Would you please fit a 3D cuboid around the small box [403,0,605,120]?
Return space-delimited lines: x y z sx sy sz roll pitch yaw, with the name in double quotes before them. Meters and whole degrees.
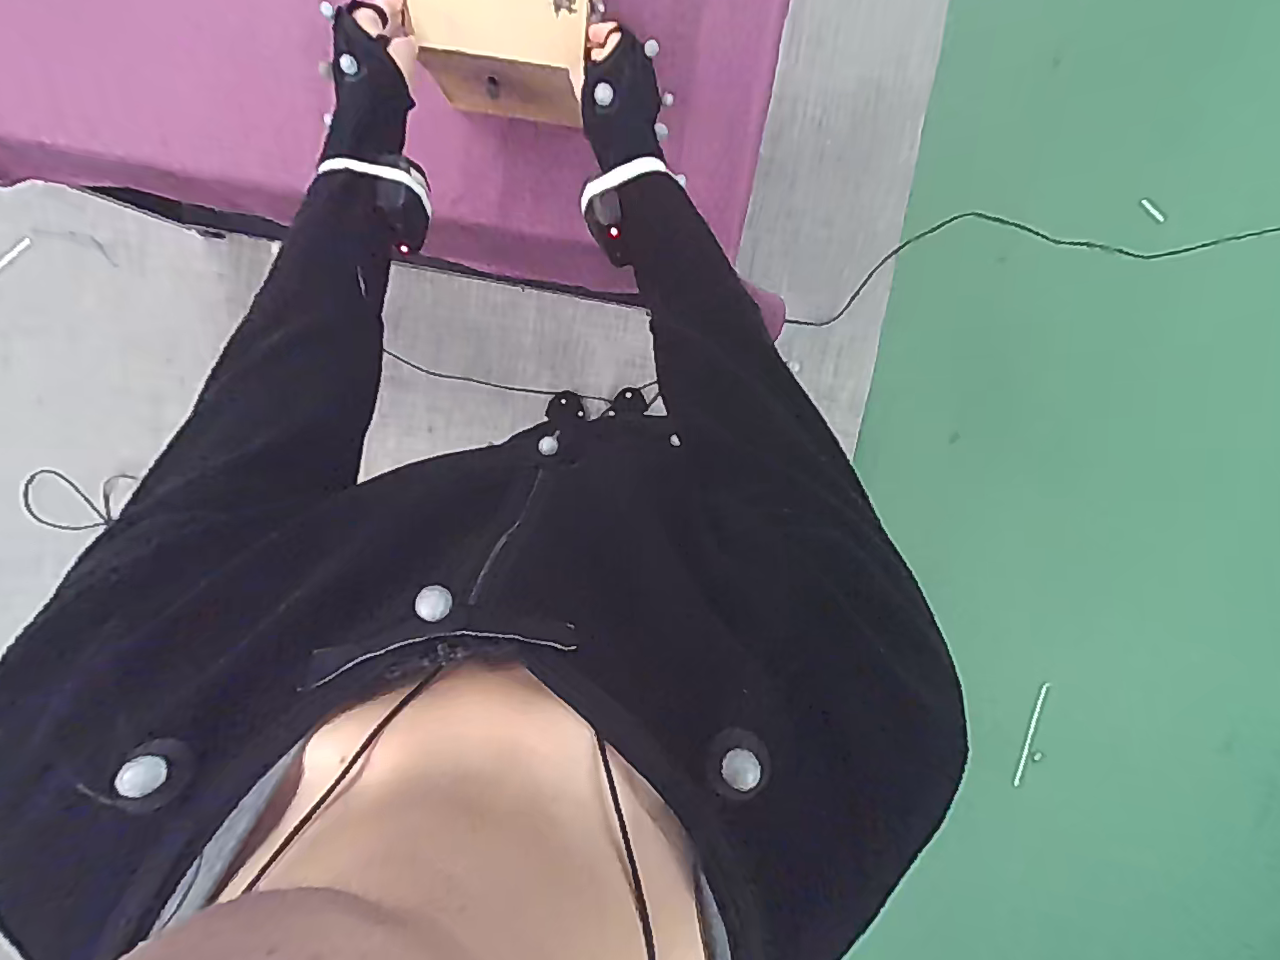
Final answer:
"small box" -0.135 -0.519 0.584 0.179 0.176 0.168 7 105 -4
